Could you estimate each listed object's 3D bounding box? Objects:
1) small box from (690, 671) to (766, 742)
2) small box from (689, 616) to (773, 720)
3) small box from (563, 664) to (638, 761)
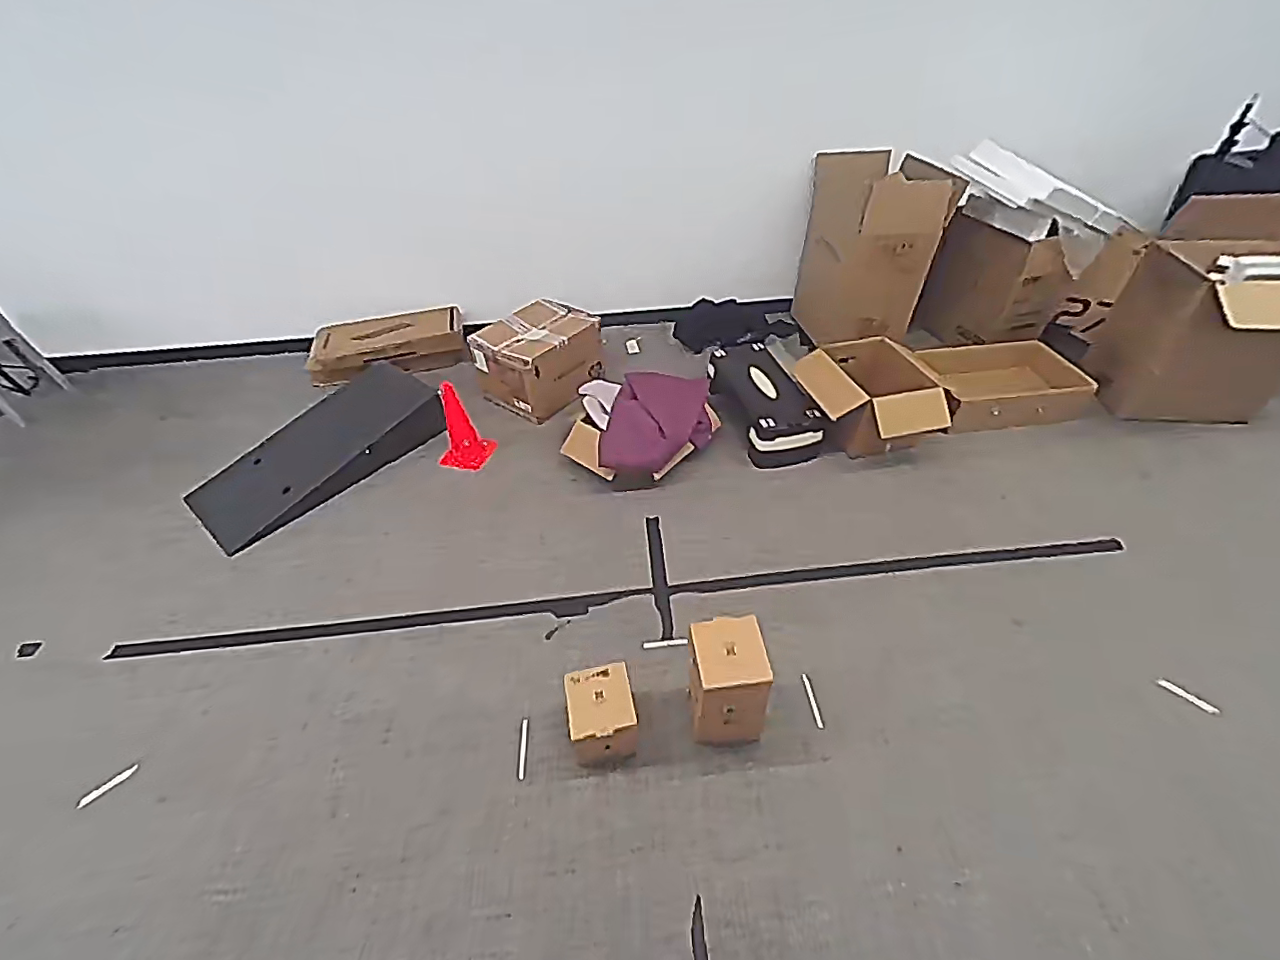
[{"bbox_3d":[0.226,0.582,1.440,0.179,0.176,0.168,-2,43,-1],"label":"small box"},{"bbox_3d":[0.214,0.463,1.330,0.168,0.176,0.179,-7,44,-3],"label":"small box"},{"bbox_3d":[-0.102,0.616,1.420,0.168,0.176,0.179,-10,44,-7],"label":"small box"}]
